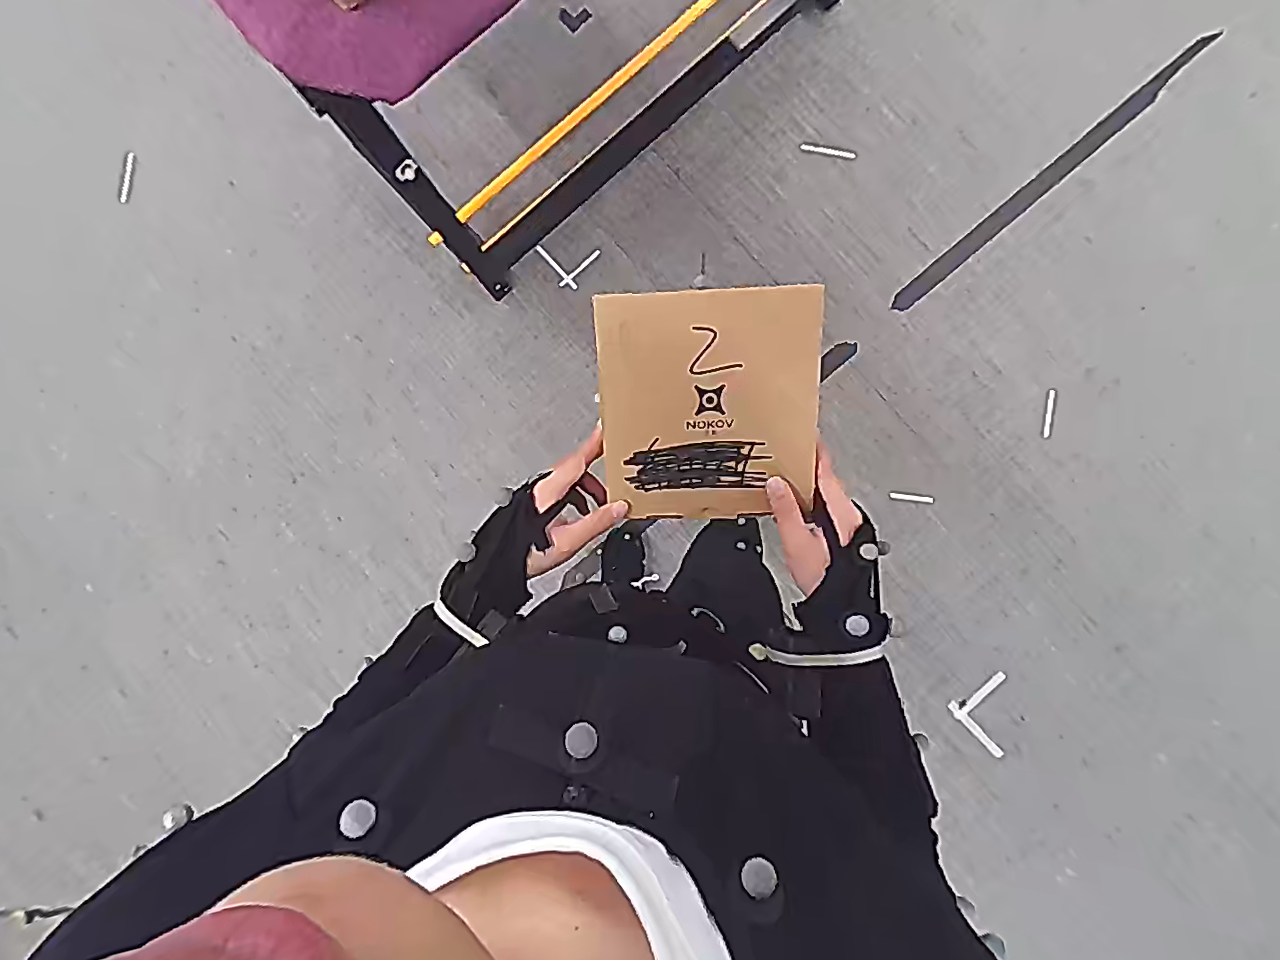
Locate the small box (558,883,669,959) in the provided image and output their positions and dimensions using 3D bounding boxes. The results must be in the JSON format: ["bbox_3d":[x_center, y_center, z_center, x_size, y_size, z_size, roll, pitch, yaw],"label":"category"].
[{"bbox_3d":[-0.057,0.975,1.101,0.179,0.176,0.168,44,90,2],"label":"small box"}]

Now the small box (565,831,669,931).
[{"bbox_3d":[-0.047,0.982,1.263,0.168,0.176,0.179,42,90,2],"label":"small box"}]
